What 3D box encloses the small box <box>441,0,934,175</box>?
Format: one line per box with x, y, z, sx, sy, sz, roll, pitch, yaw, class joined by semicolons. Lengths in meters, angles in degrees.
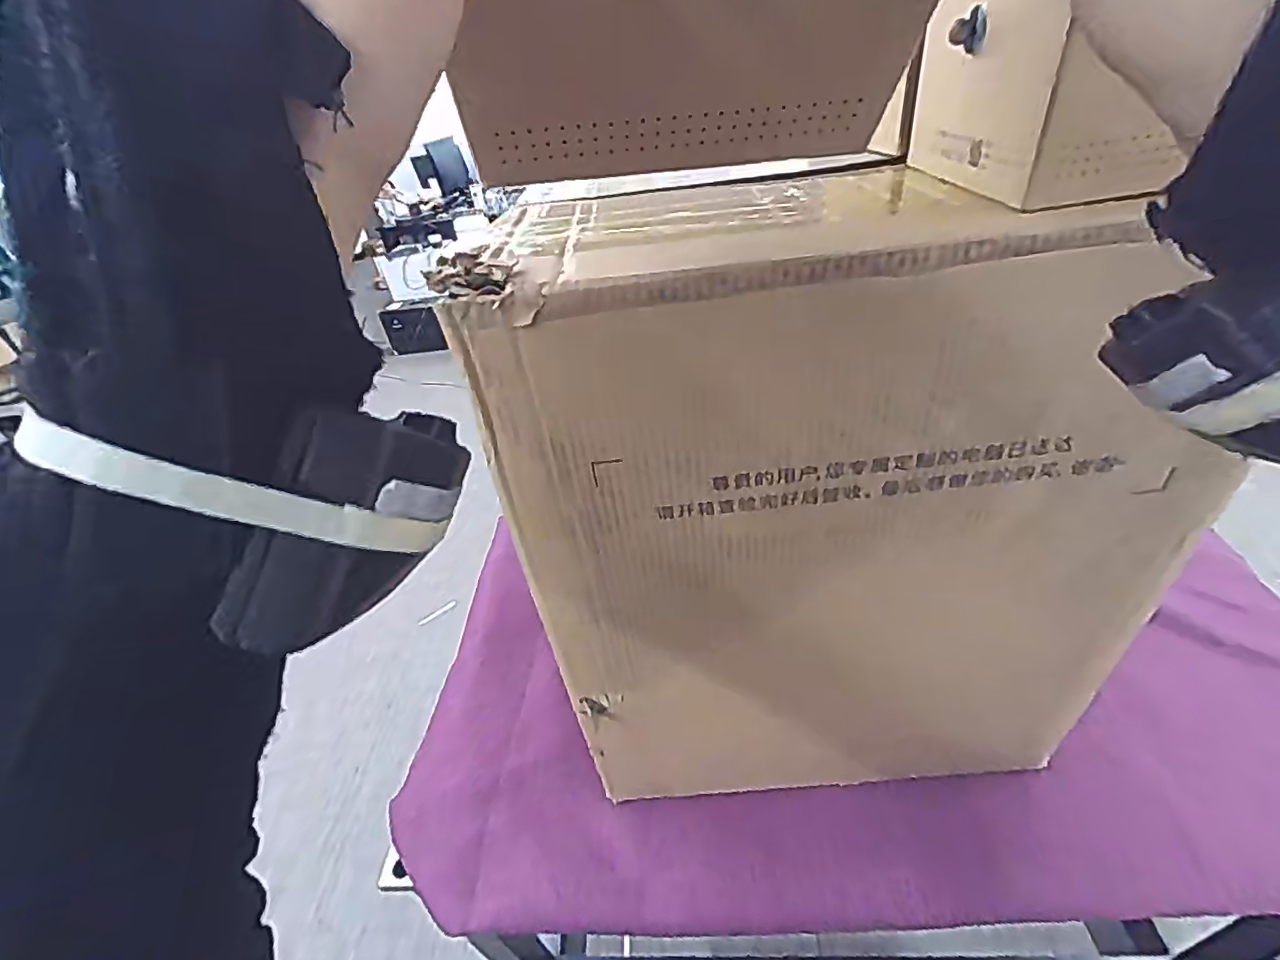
0.014;-0.238;0.183;0.179;0.176;0.168;-7;74;-3;small box

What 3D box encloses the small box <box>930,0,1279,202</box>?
0.279;-0.262;0.291;0.179;0.176;0.168;-6;38;5;small box
